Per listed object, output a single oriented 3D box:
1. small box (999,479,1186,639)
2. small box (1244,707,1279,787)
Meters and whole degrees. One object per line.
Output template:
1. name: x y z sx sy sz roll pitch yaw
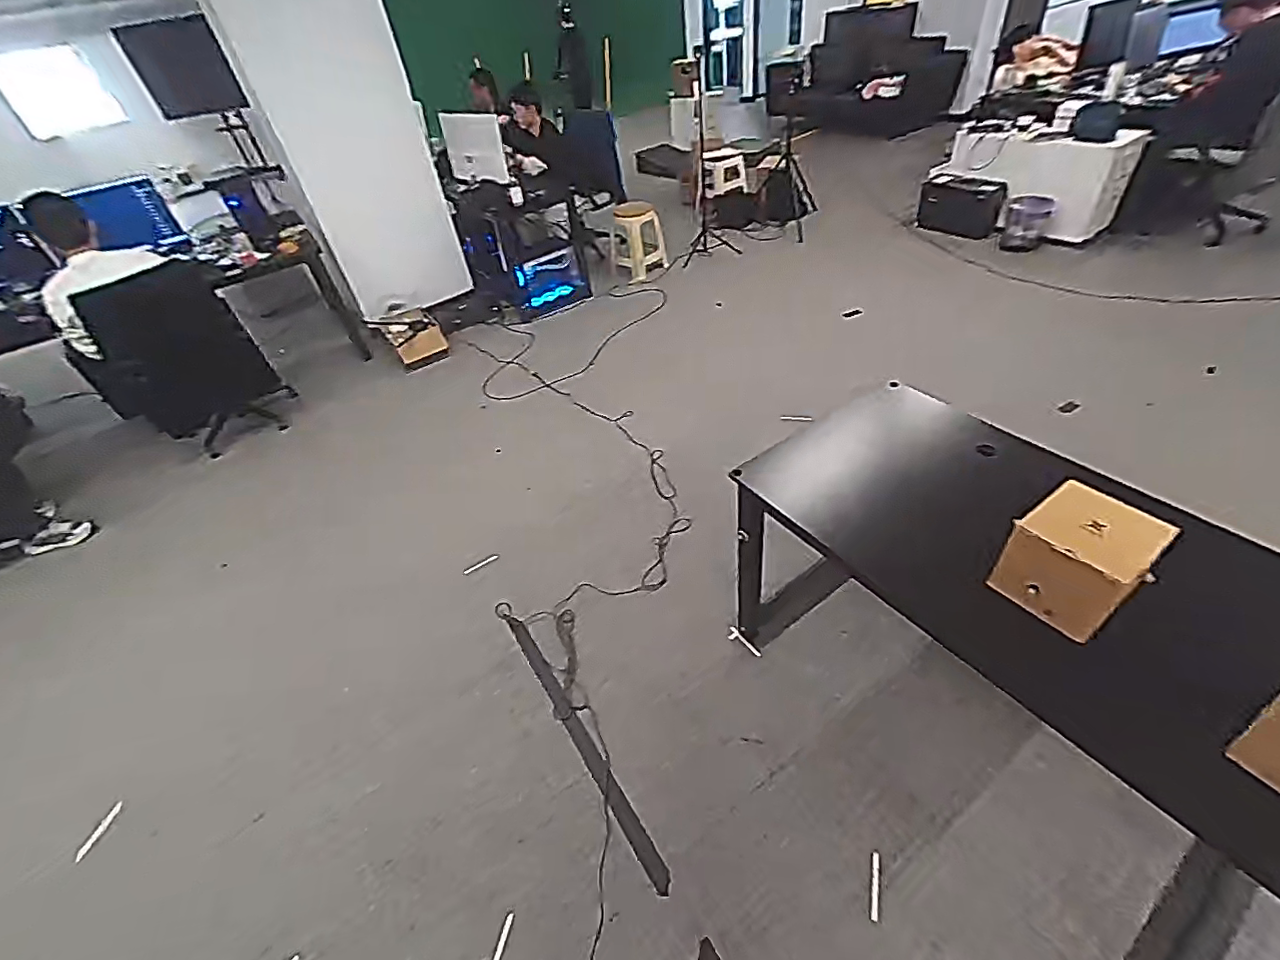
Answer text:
1. small box: 0.769 0.136 0.940 0.179 0.176 0.168 -30 46 -20
2. small box: 0.944 0.338 0.682 0.179 0.176 0.168 -25 43 -17
